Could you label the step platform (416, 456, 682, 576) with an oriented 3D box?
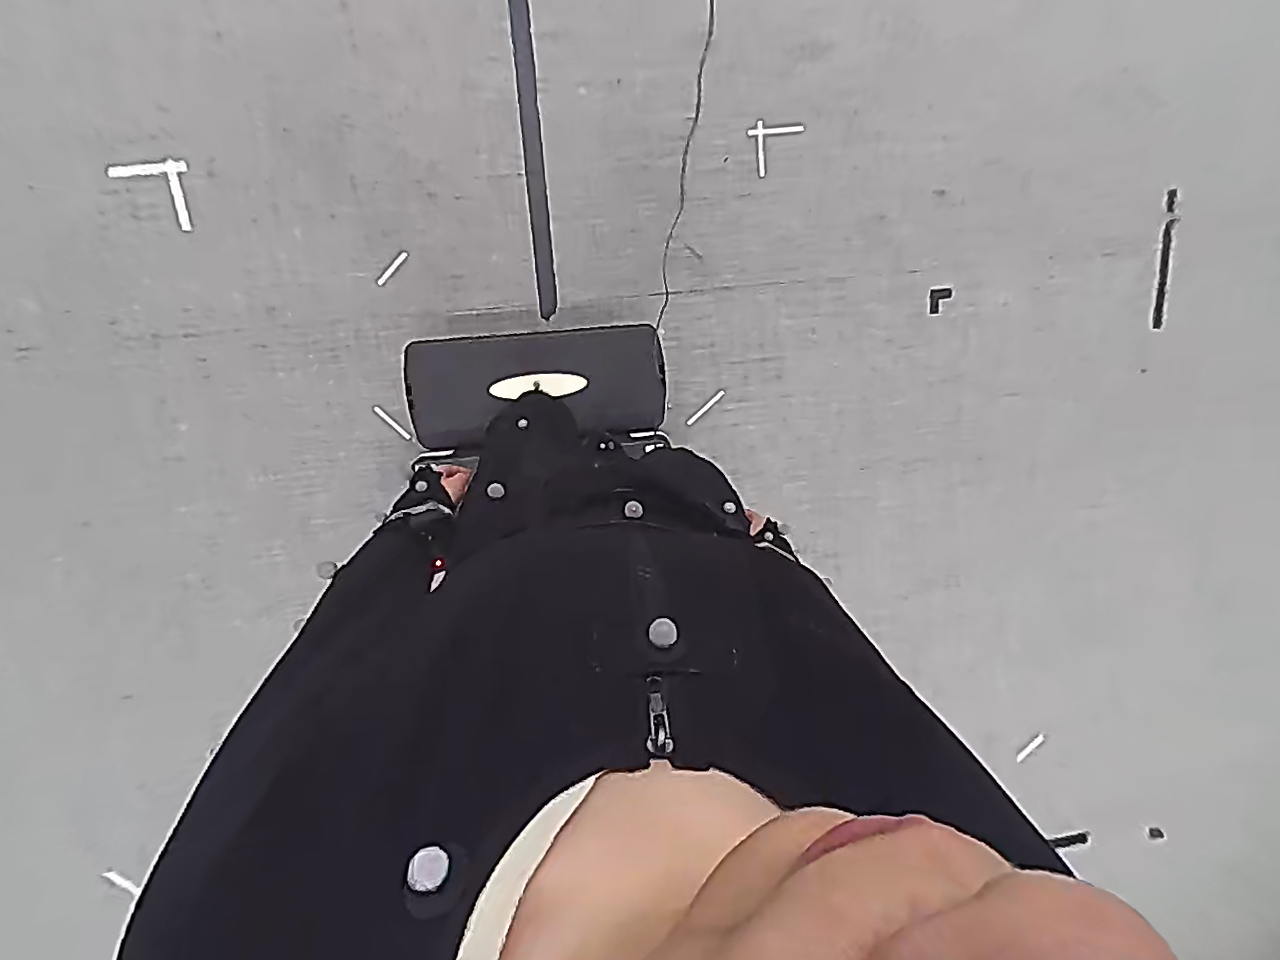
[{"bbox_3d":[-0.230,0.092,1.443,0.684,0.204,0.286,-1,98,-5],"label":"step platform"}]
